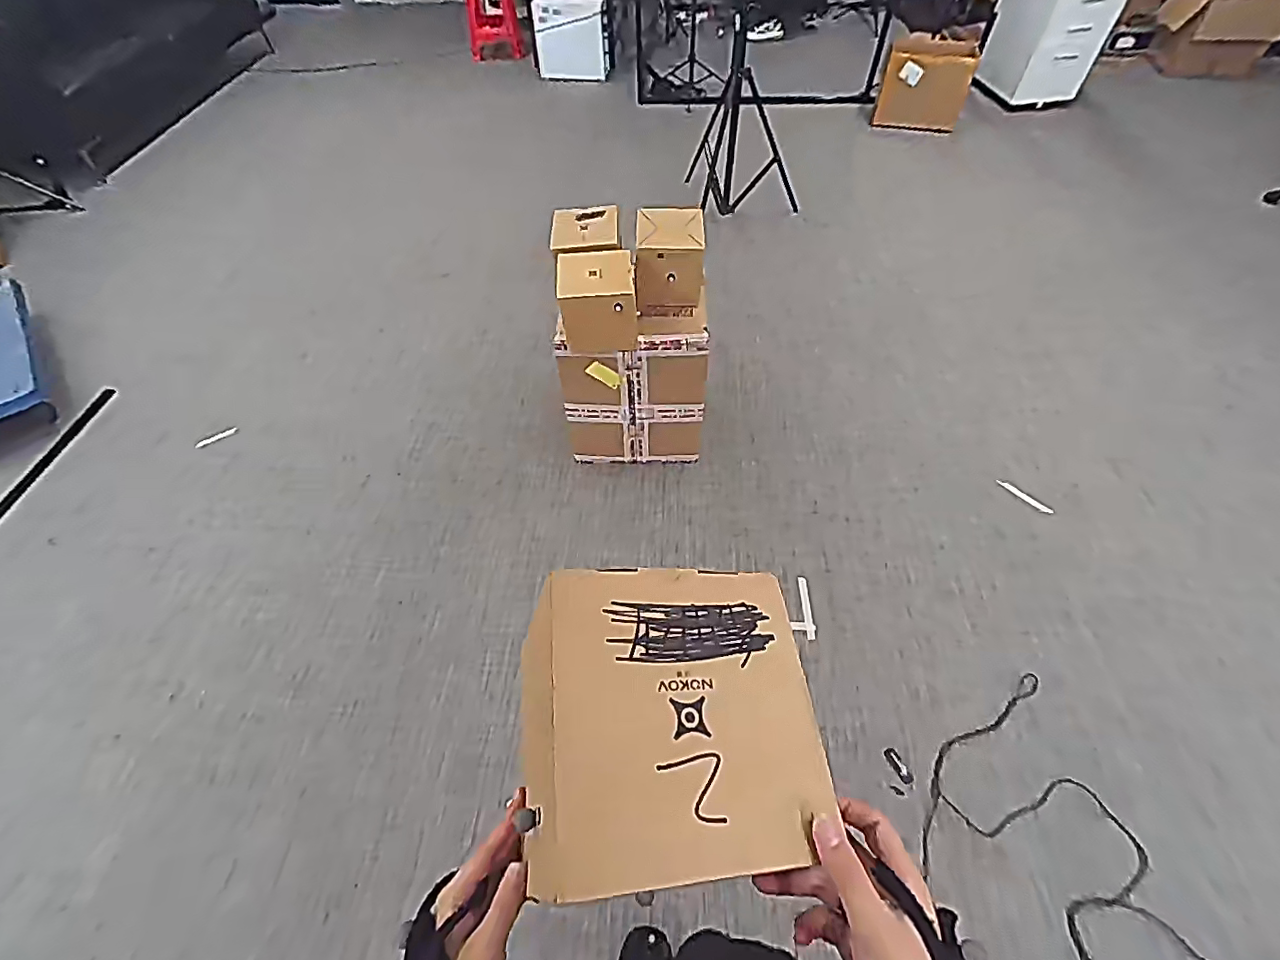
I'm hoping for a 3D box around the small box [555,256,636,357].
[{"bbox_3d":[-0.104,-0.414,1.305,0.179,0.176,0.168,-5,56,-1],"label":"small box"}]

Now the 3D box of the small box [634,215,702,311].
[{"bbox_3d":[0.069,-0.559,1.394,0.168,0.176,0.179,1,55,0],"label":"small box"}]
